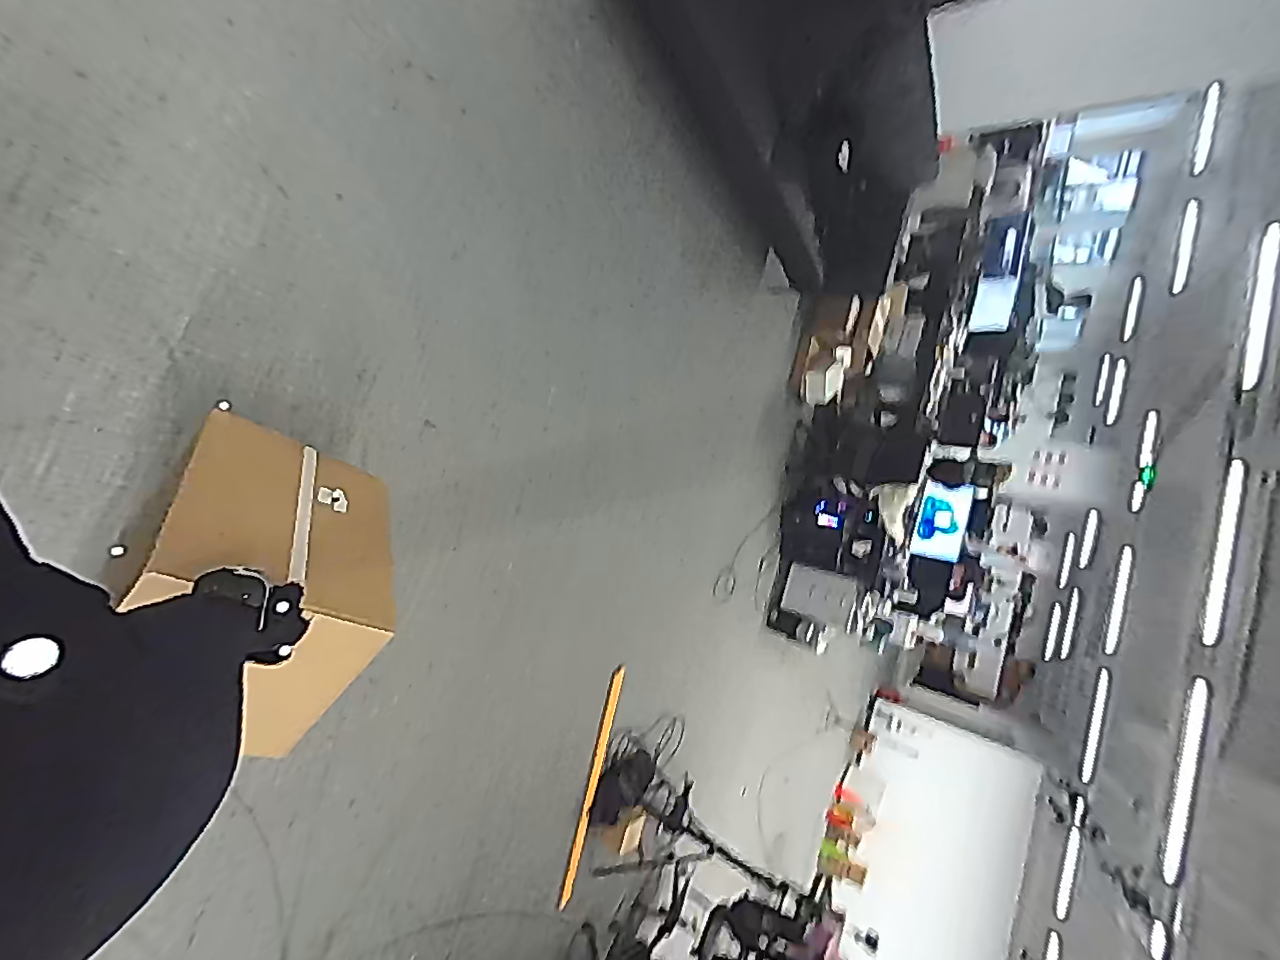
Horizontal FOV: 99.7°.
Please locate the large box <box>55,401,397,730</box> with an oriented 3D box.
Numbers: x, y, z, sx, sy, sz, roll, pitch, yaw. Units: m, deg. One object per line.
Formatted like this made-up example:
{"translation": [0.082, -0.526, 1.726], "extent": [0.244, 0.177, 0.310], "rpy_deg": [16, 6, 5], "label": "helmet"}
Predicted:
{"translation": [-0.650, 0.144, 0.907], "extent": [0.320, 0.408, 0.320], "rpy_deg": [-47, 133, 11], "label": "large box"}
